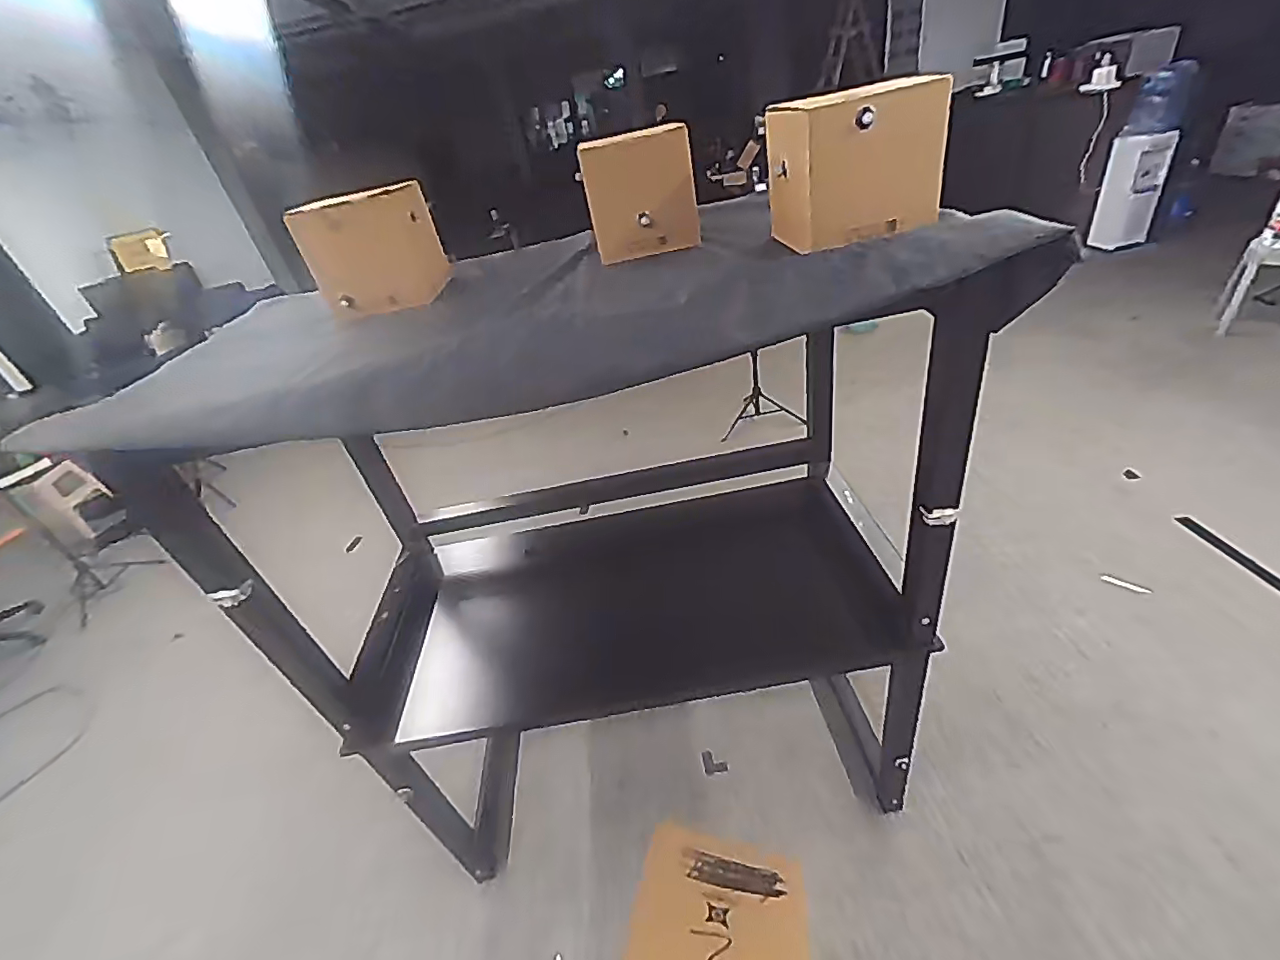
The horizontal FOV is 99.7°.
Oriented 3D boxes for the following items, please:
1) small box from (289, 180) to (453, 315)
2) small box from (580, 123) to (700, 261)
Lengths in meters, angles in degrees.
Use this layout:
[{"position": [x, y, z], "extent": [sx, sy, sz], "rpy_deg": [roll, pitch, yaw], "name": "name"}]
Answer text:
[{"position": [-0.438, -0.391, 0.917], "extent": [0.168, 0.176, 0.179], "rpy_deg": [-11, 34, 2], "name": "small box"}, {"position": [0.001, -0.480, 0.903], "extent": [0.168, 0.176, 0.179], "rpy_deg": [-11, 35, 3], "name": "small box"}]
